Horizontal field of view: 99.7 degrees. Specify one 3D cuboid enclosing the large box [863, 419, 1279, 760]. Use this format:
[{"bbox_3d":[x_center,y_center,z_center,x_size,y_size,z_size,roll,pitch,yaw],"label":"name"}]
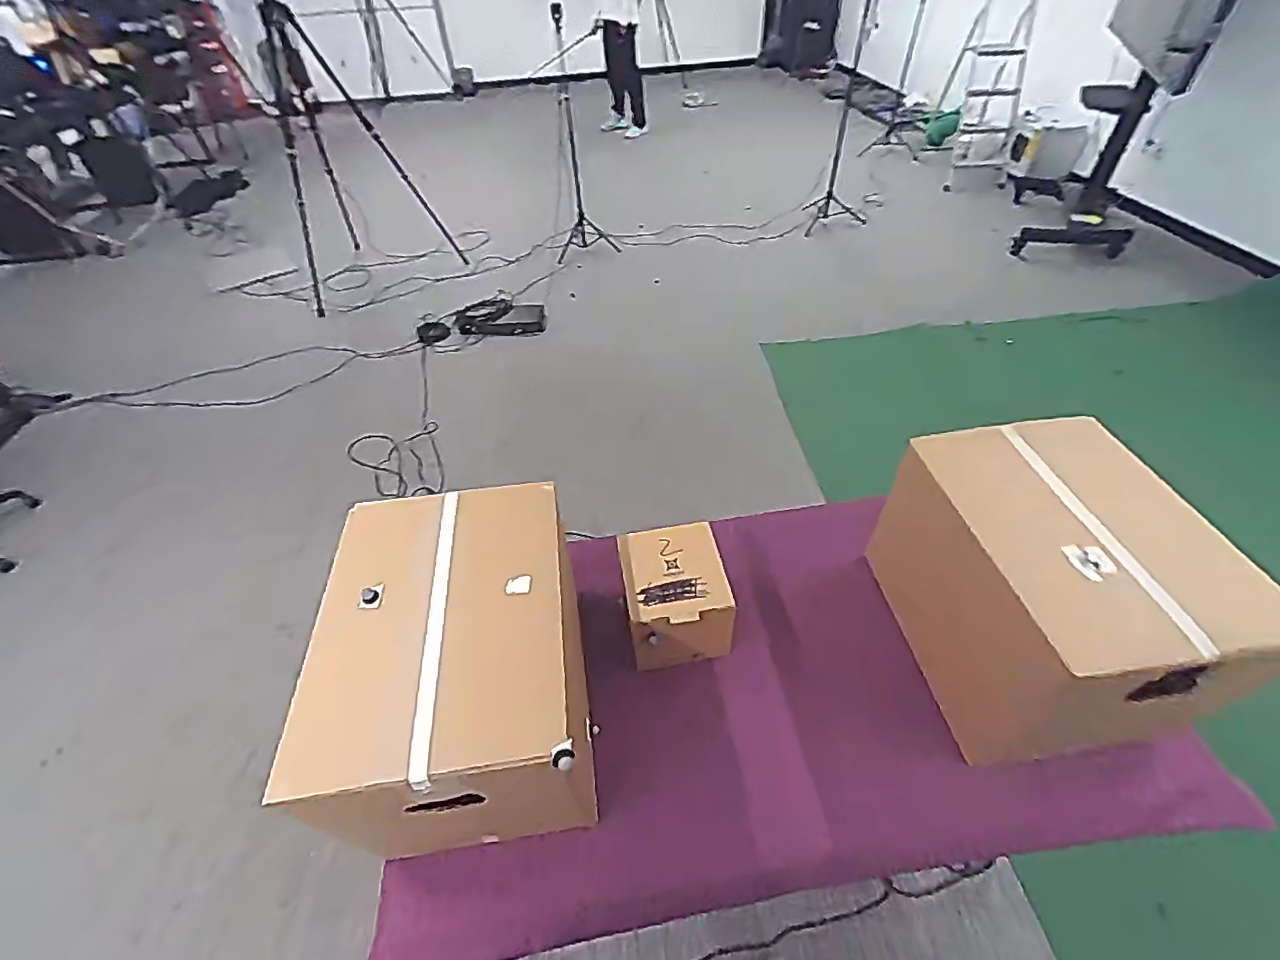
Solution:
[{"bbox_3d":[0.612,0.161,0.847,0.320,0.320,0.408,-8,47,-3],"label":"large box"}]
